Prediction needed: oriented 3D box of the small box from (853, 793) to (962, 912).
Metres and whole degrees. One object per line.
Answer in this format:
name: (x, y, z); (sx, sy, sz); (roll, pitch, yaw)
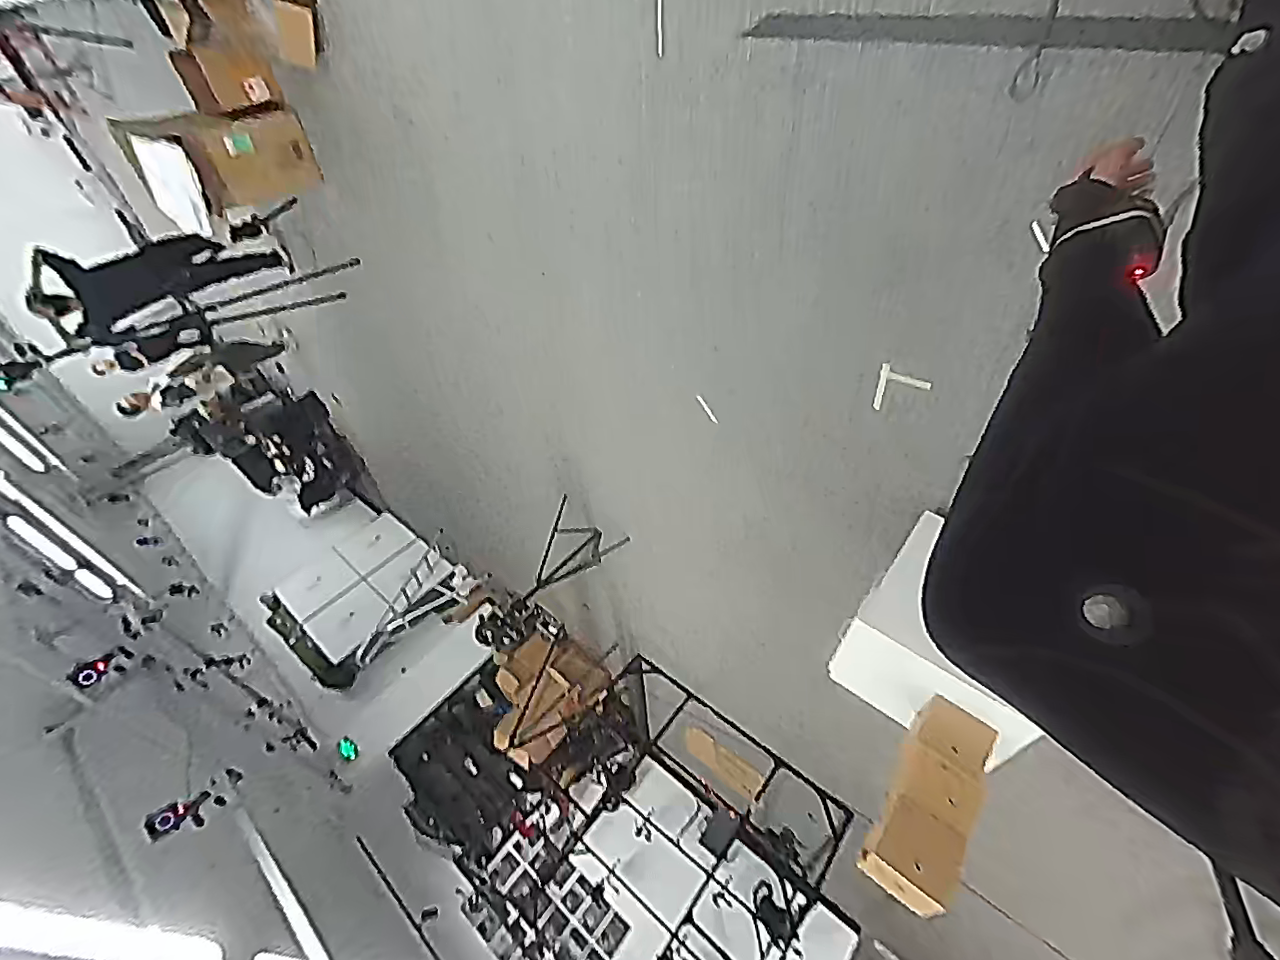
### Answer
small box: (0.675, 0.937, 1.367); (0.179, 0.176, 0.168); (31, 144, 27)

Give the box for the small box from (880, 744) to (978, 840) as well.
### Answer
small box: (0.780, 0.853, 1.463); (0.168, 0.176, 0.179); (32, 146, 25)

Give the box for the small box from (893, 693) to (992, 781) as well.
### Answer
small box: (0.871, 0.753, 1.555); (0.179, 0.176, 0.168); (32, 145, 26)
